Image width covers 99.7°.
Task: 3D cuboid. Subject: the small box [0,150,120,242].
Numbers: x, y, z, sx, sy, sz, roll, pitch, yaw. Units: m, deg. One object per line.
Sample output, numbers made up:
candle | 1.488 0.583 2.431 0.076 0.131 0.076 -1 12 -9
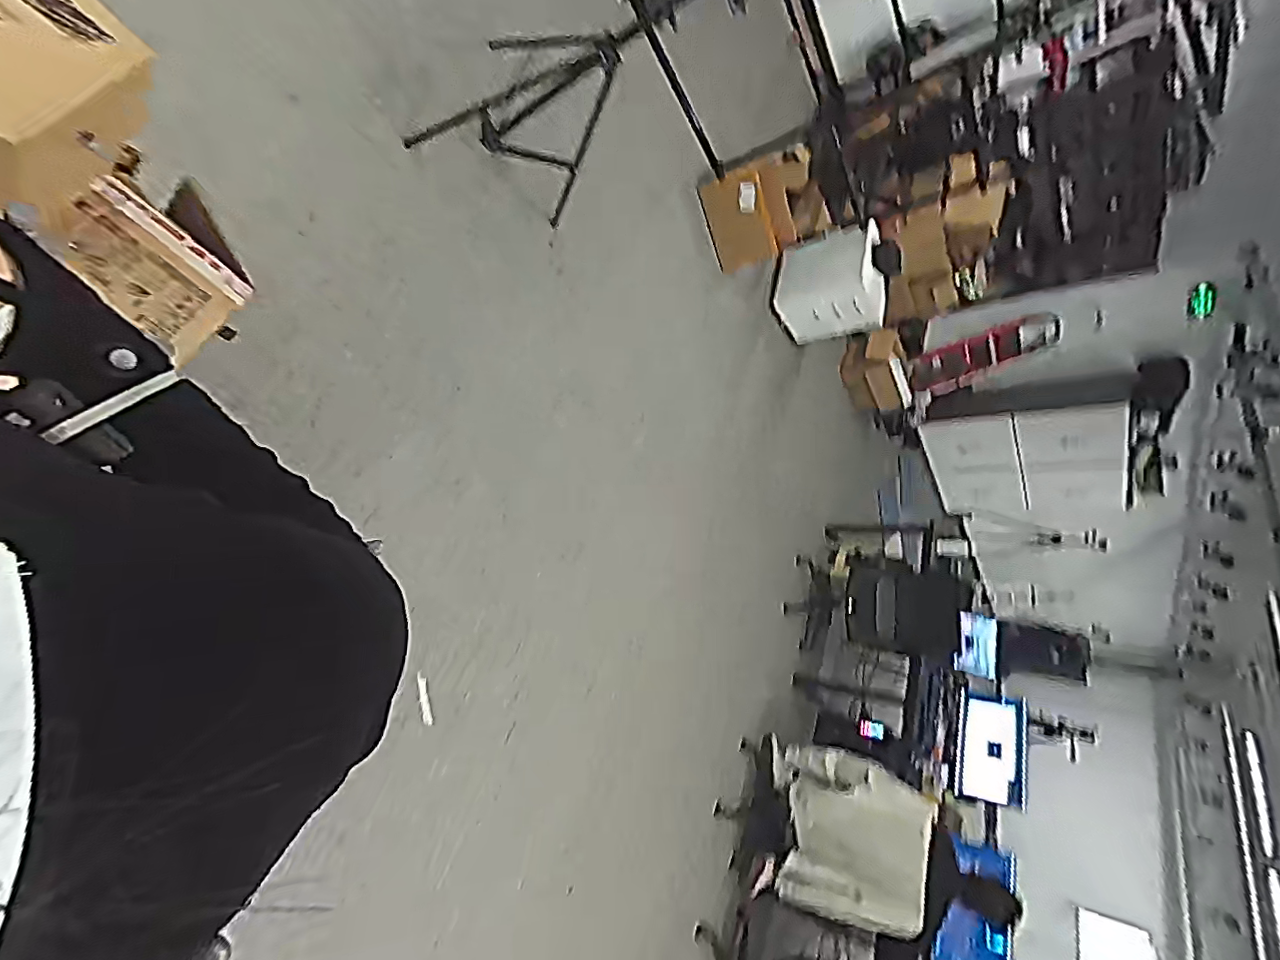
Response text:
small box | -0.766 -0.421 0.637 0.168 0.176 0.179 43 59 -38

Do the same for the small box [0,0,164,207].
small box | -0.636 -0.413 0.535 0.168 0.176 0.179 46 57 -36
